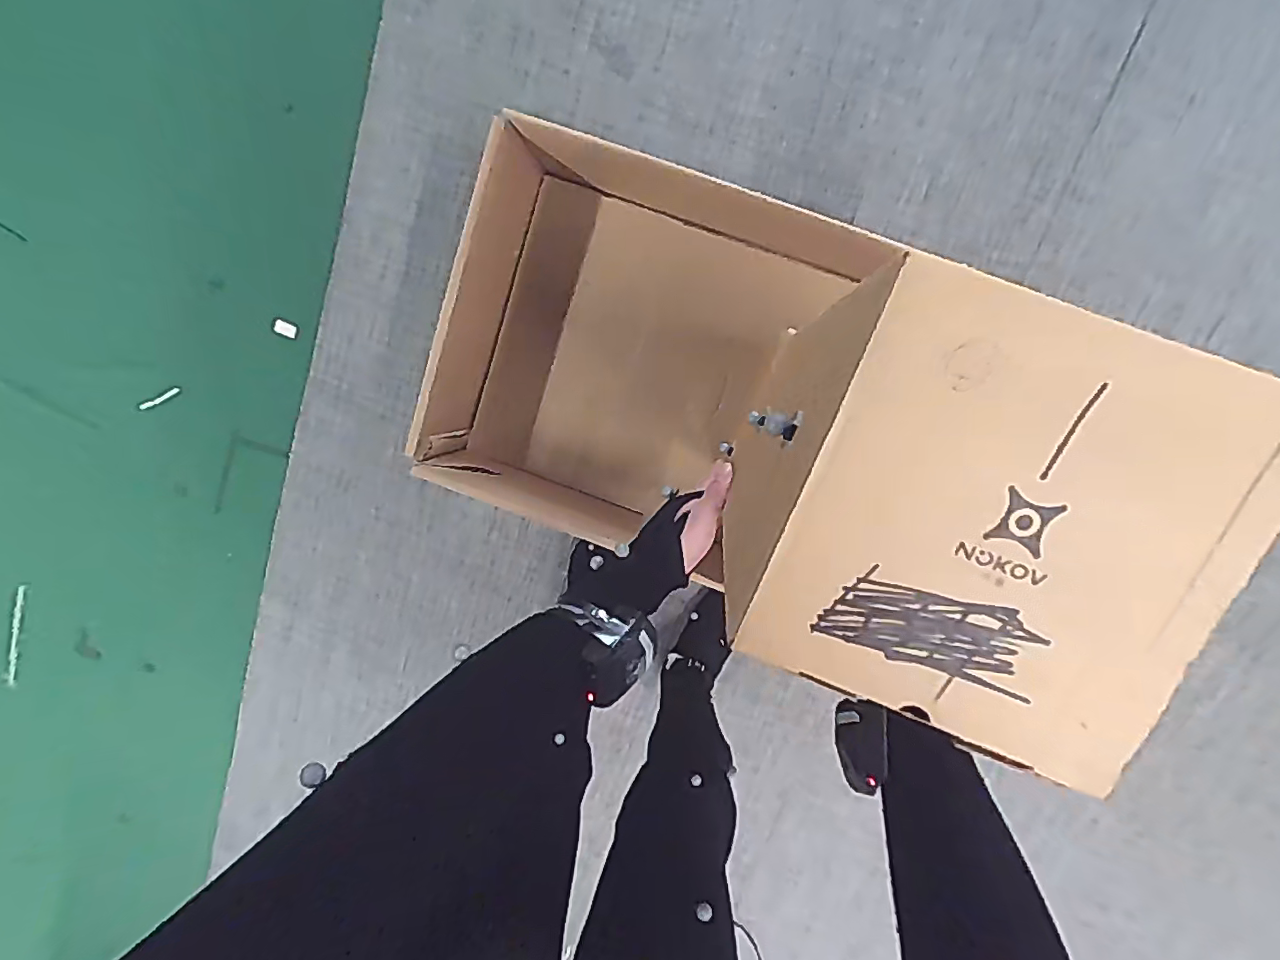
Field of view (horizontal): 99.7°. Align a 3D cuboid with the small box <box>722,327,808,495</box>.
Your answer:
[{"bbox_3d":[0.197,-0.052,0.611,0.168,0.176,0.179,22,102,4],"label":"small box"}]

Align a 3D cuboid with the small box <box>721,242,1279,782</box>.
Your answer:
[{"bbox_3d":[0.153,0.006,0.292,0.168,0.176,0.179,22,101,3],"label":"small box"}]
